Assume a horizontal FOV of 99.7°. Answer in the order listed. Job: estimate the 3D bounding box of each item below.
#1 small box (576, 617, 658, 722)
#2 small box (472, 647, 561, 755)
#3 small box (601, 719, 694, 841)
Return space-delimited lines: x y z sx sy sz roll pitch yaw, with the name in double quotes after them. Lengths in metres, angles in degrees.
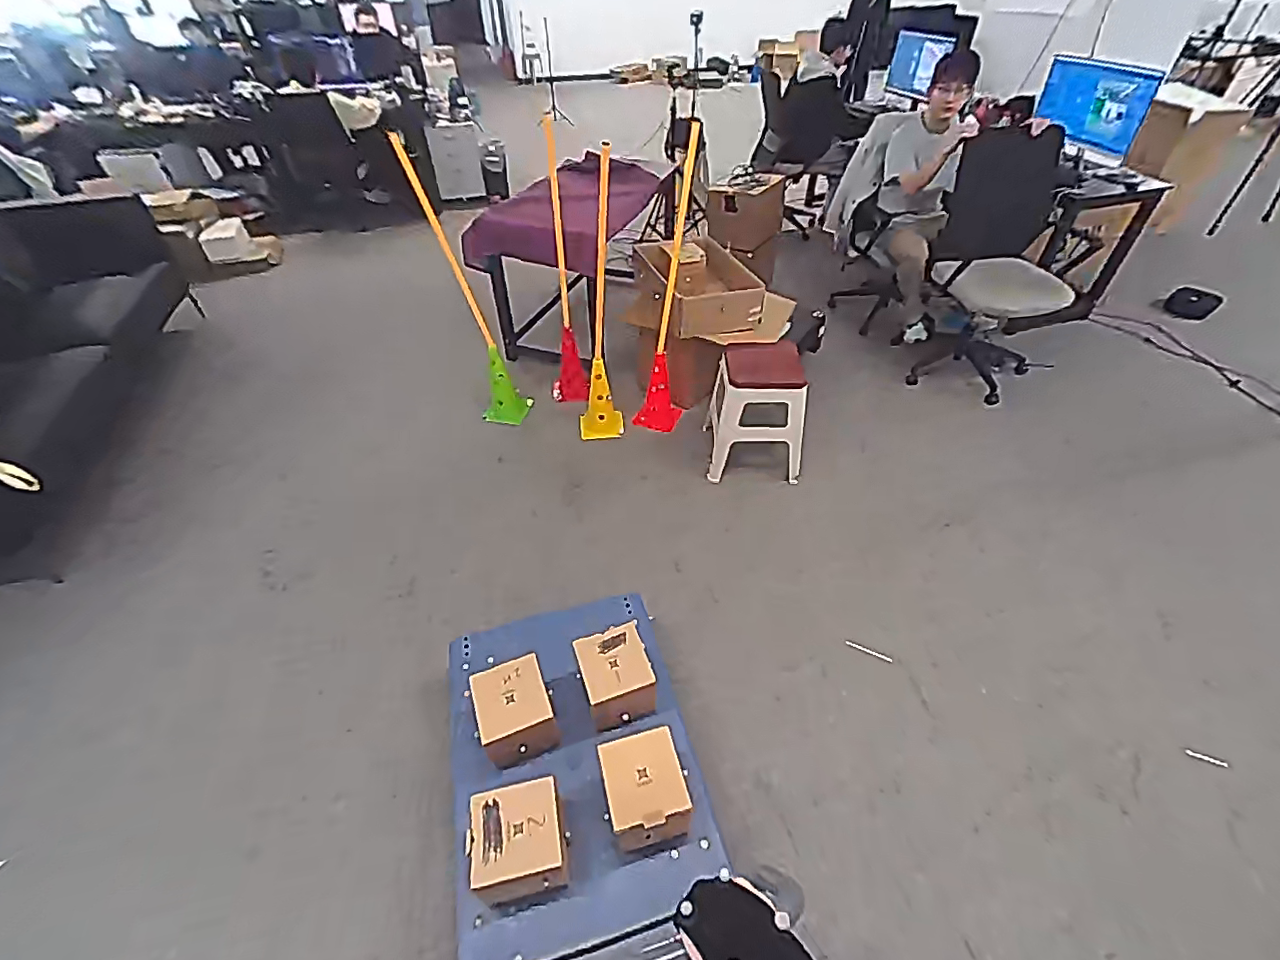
-0.061 0.488 1.392 0.168 0.176 0.179 -15 47 -13 "small box"
-0.302 0.551 1.334 0.168 0.176 0.179 -16 47 -16 "small box"
0.011 0.671 1.209 0.168 0.176 0.179 -12 46 -10 "small box"
